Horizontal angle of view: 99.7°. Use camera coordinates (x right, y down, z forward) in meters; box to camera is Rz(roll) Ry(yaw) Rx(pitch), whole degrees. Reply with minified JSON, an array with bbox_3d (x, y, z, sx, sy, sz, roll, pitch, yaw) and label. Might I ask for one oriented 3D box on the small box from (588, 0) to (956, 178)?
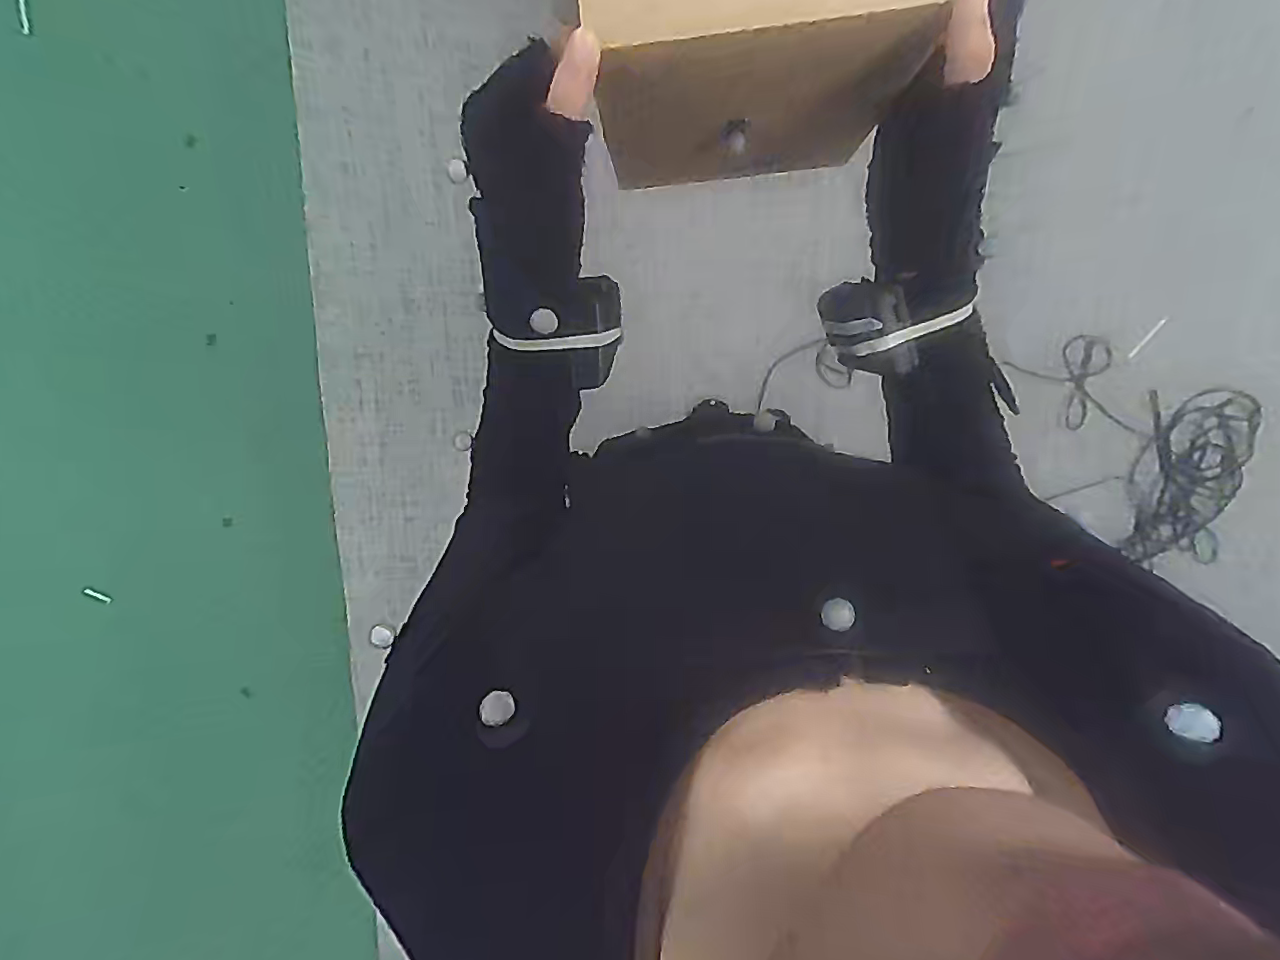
[{"bbox_3d":[0.057,-0.295,0.309,0.168,0.176,0.179,-5,98,4],"label":"small box"}]
